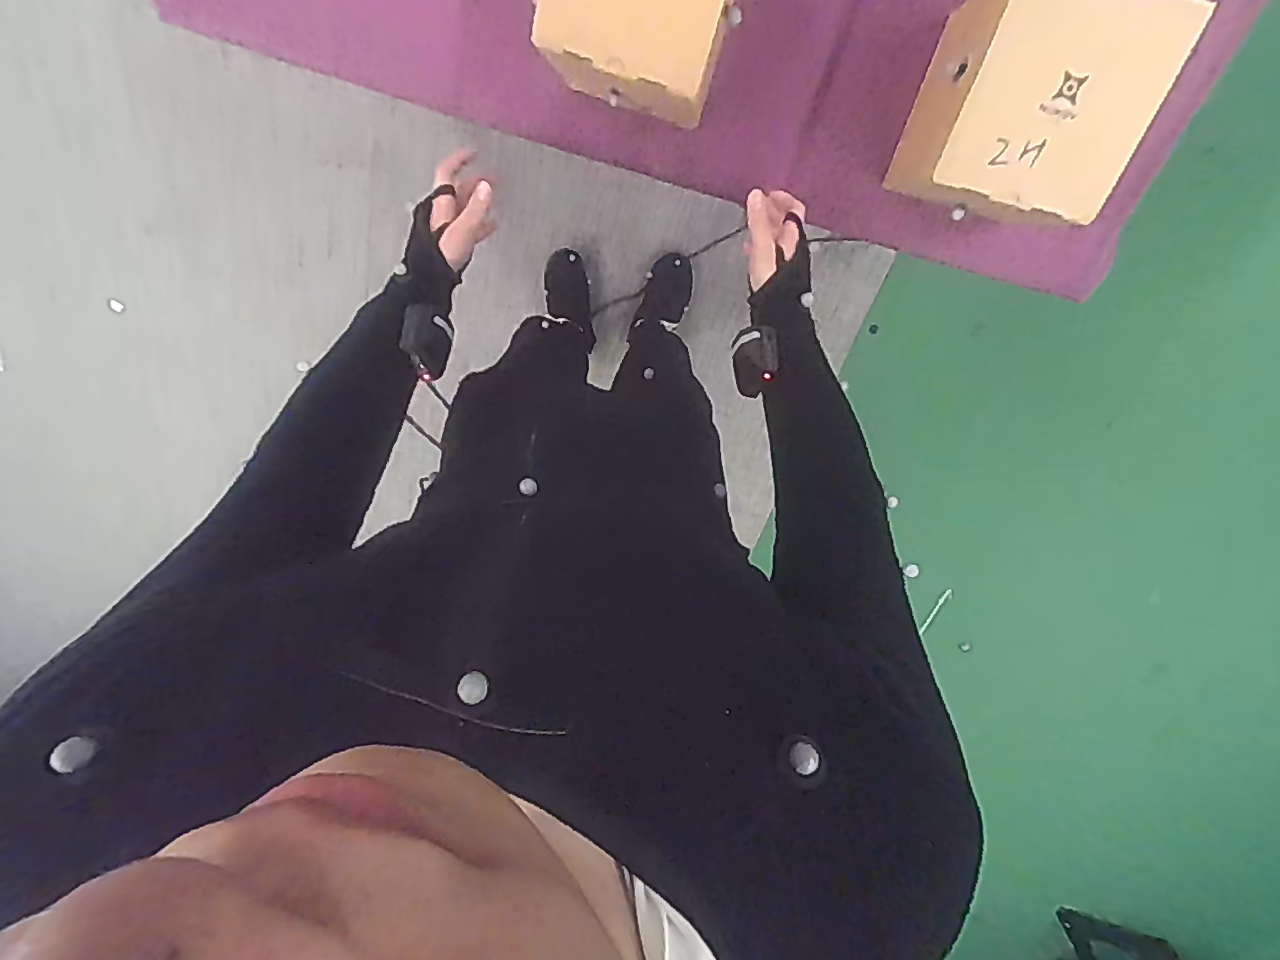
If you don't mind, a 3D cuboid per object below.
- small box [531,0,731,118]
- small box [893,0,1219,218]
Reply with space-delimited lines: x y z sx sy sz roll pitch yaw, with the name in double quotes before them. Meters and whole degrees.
"small box" 0.006 -0.496 0.540 0.168 0.176 0.179 17 117 -2
"small box" 0.386 -0.383 0.549 0.168 0.176 0.179 16 118 0
